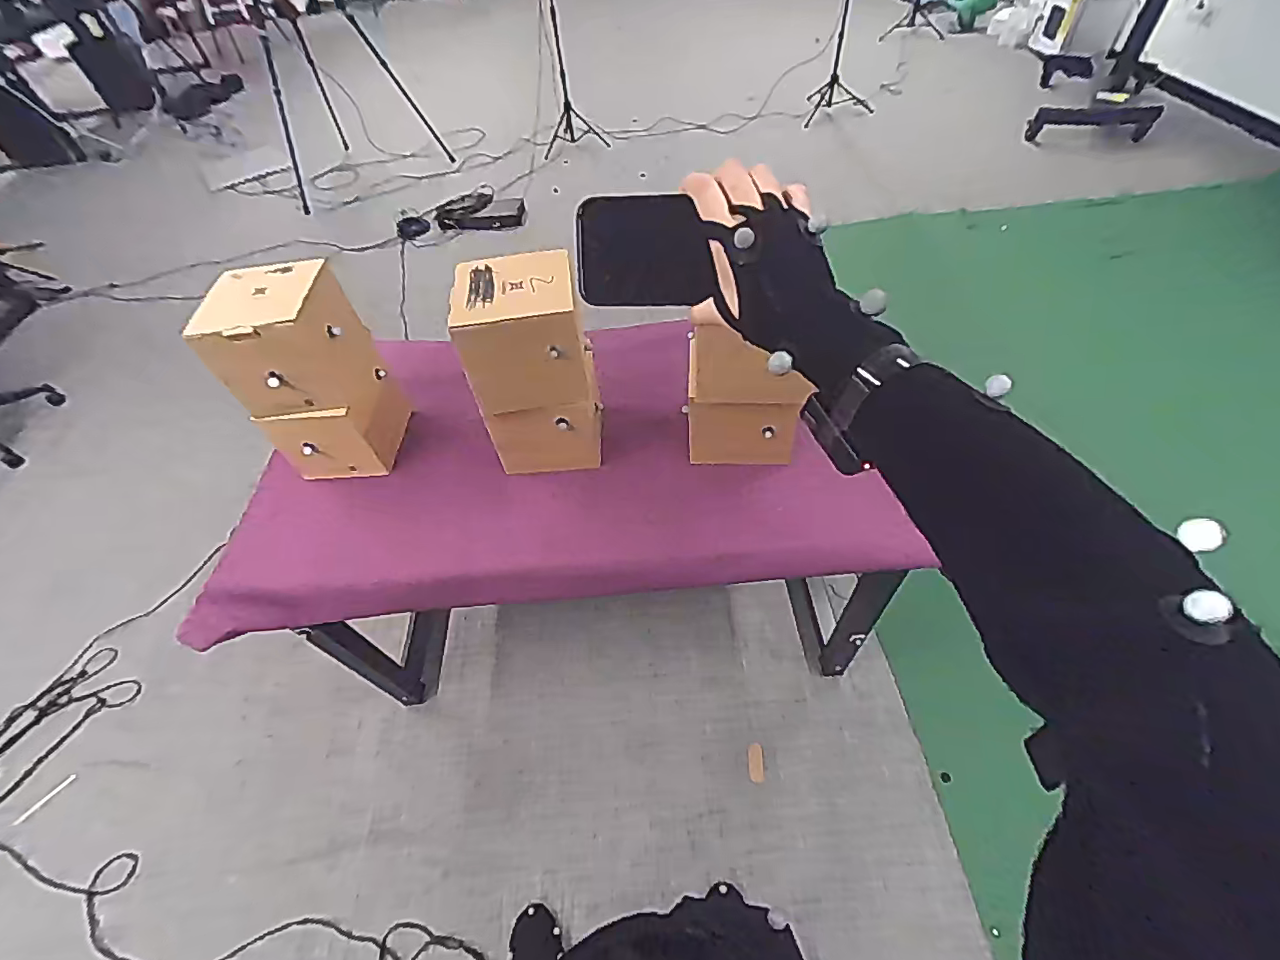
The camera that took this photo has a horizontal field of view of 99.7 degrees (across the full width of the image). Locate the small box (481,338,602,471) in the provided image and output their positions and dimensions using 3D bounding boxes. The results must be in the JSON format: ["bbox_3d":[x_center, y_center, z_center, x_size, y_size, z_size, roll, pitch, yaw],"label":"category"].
[{"bbox_3d":[-0.164,-0.132,0.970,0.179,0.176,0.168,-4,51,3],"label":"small box"}]

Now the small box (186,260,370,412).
[{"bbox_3d":[-0.568,-0.226,0.880,0.168,0.176,0.179,-7,52,-1],"label":"small box"}]

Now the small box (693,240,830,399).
[{"bbox_3d":[0.170,-0.235,0.808,0.179,0.176,0.168,1,51,6],"label":"small box"}]

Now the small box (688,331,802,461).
[{"bbox_3d":[0.176,-0.145,0.946,0.179,0.176,0.168,0,51,7],"label":"small box"}]

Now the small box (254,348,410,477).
[{"bbox_3d":[-0.554,-0.118,1.004,0.168,0.176,0.179,-4,51,3],"label":"small box"}]
